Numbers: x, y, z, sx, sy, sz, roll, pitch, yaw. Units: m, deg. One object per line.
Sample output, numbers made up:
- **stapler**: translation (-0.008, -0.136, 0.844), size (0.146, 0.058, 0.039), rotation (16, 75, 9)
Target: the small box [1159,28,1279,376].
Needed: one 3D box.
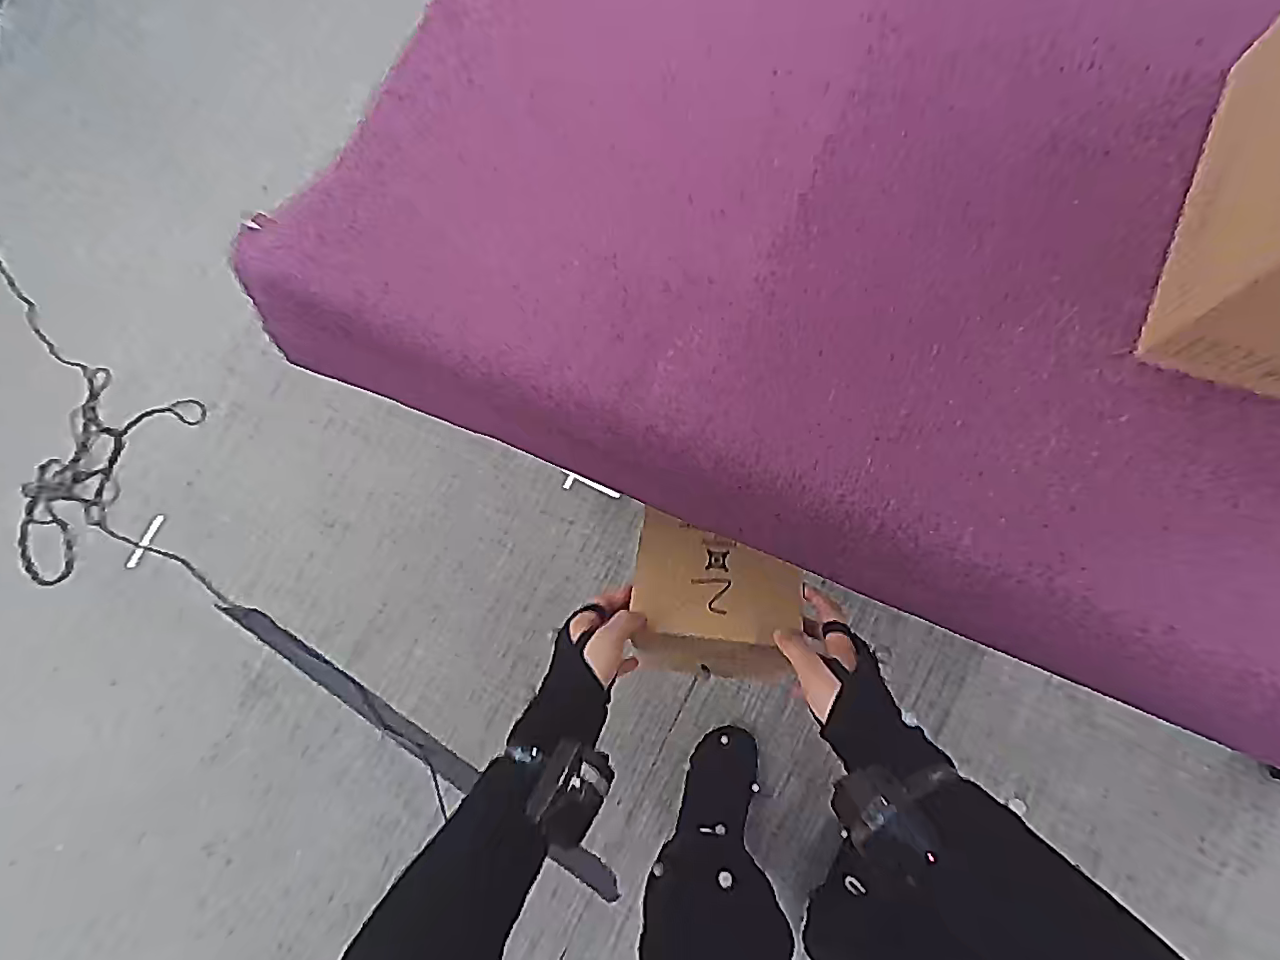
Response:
- **small box**: translation (0.334, -0.125, 0.176), size (0.168, 0.176, 0.179), rotation (23, 82, 14)
